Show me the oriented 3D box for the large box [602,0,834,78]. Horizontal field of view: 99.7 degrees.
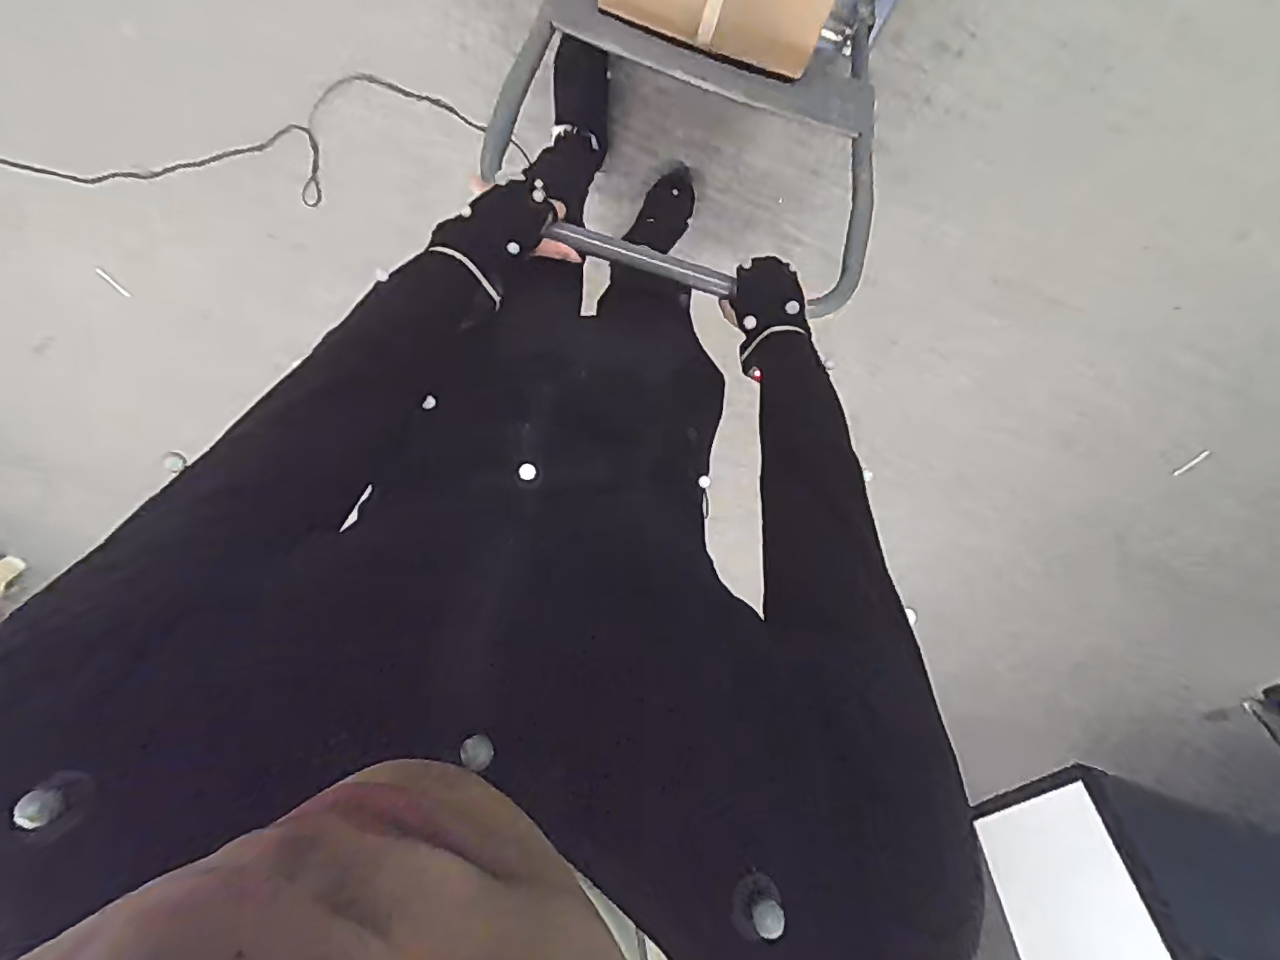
[{"bbox_3d":[0.158,-0.854,0.699,0.320,0.320,0.408,15,149,-7],"label":"large box"}]
